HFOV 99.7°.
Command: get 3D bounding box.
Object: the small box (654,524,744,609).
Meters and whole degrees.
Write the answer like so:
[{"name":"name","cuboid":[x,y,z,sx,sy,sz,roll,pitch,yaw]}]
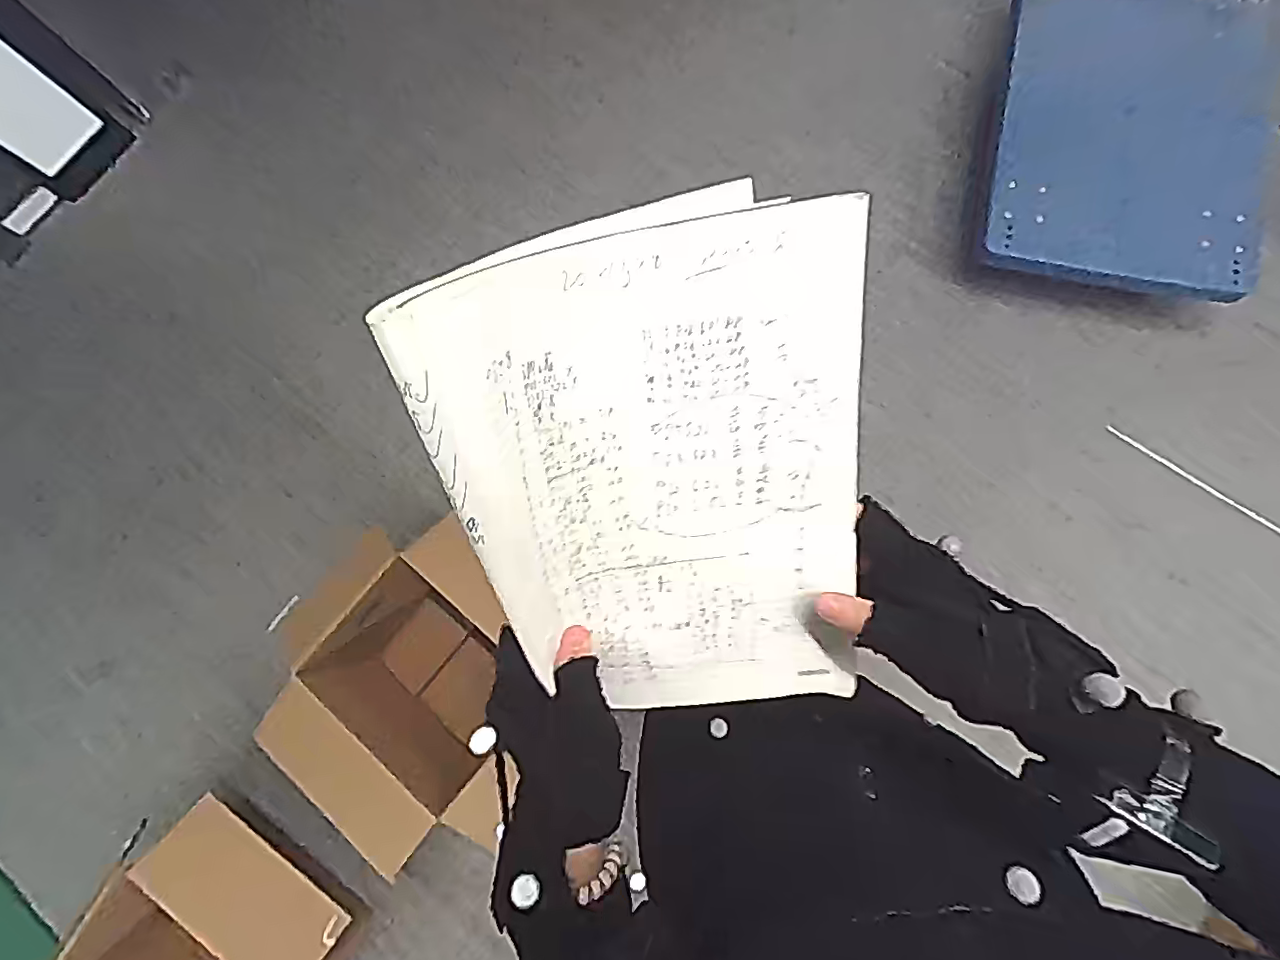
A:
[{"name":"small box","cuboid":[0.138,0.197,1.277,0.179,0.176,0.168,5,92,23]}]
